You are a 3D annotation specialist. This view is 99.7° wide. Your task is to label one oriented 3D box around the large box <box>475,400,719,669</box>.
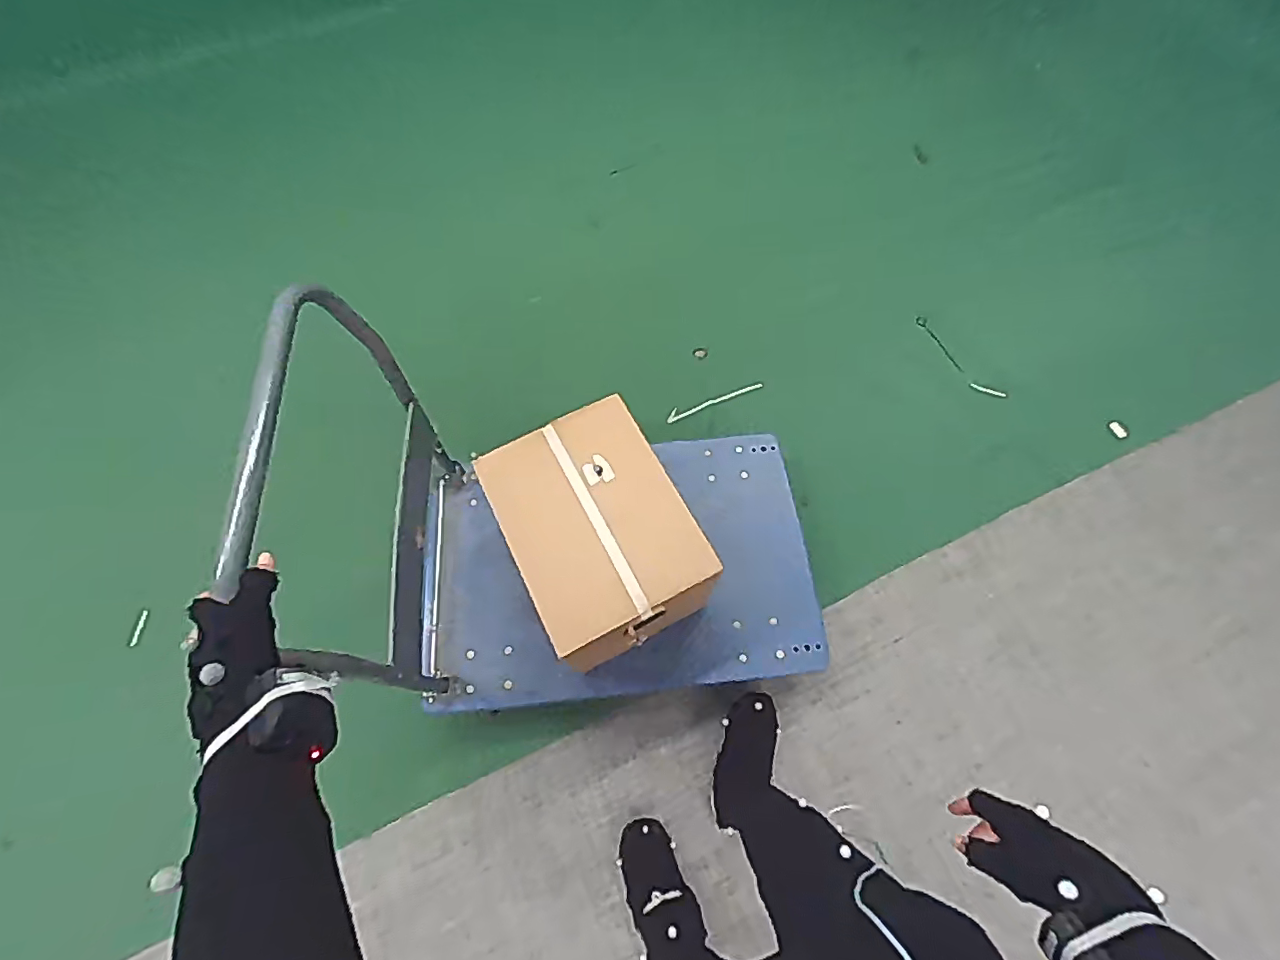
[{"bbox_3d":[-0.080,0.123,1.116,0.320,0.320,0.408,-27,67,-10],"label":"large box"}]
